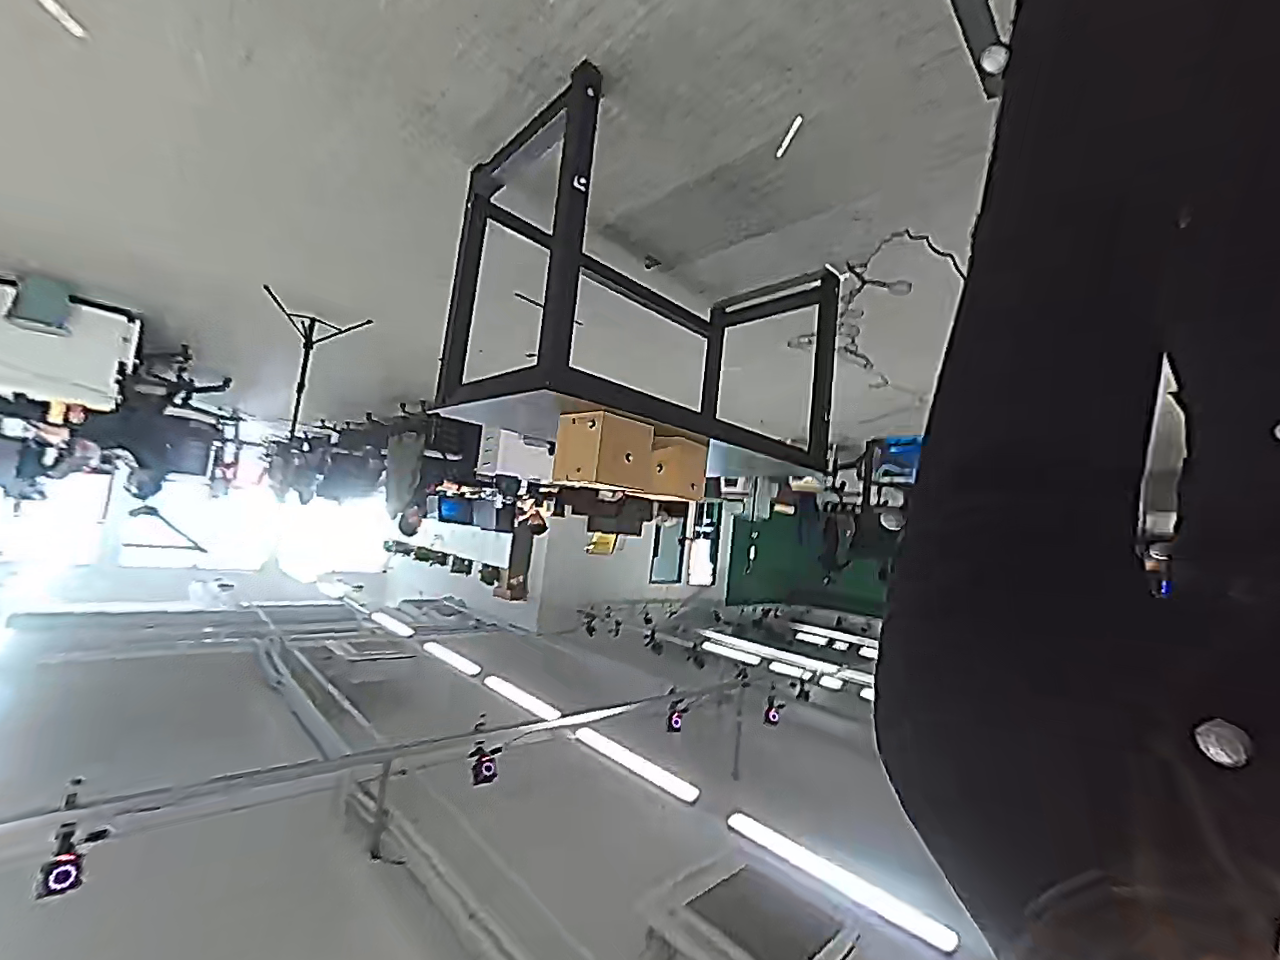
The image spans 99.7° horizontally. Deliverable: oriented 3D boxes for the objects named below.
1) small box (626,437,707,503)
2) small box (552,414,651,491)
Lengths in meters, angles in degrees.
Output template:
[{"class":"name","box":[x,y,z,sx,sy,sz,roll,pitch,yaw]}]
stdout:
[{"class":"small box","box":[0.078,-0.029,1.552,0.168,0.176,0.179,4,175,33]},{"class":"small box","box":[-0.092,-0.066,1.332,0.168,0.176,0.179,2,174,44]}]
